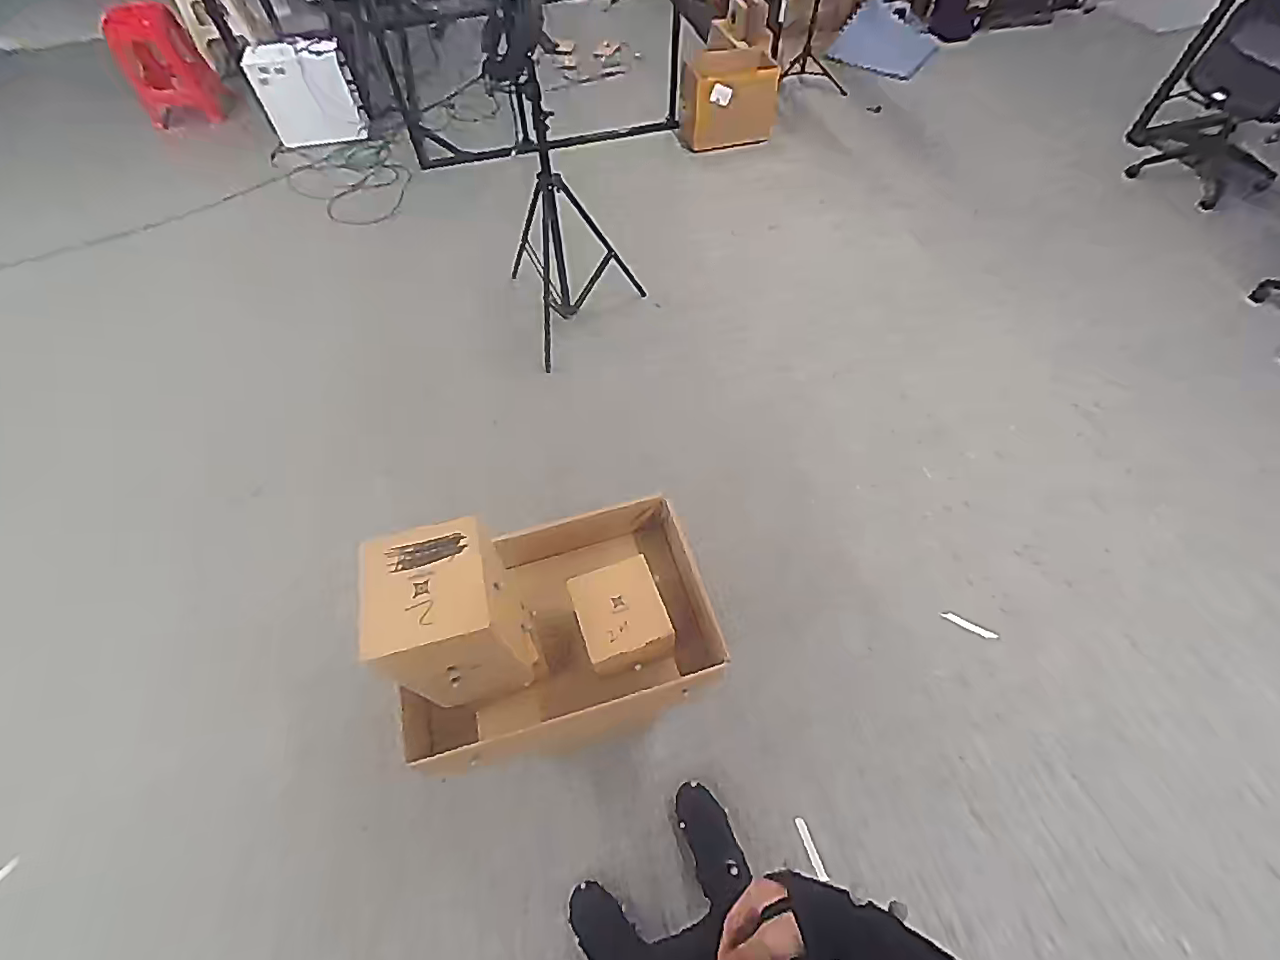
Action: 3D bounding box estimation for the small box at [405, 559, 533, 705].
[{"bbox_3d":[-0.293,0.267,0.938,0.168,0.176,0.179,-15,58,-7],"label":"small box"}]
